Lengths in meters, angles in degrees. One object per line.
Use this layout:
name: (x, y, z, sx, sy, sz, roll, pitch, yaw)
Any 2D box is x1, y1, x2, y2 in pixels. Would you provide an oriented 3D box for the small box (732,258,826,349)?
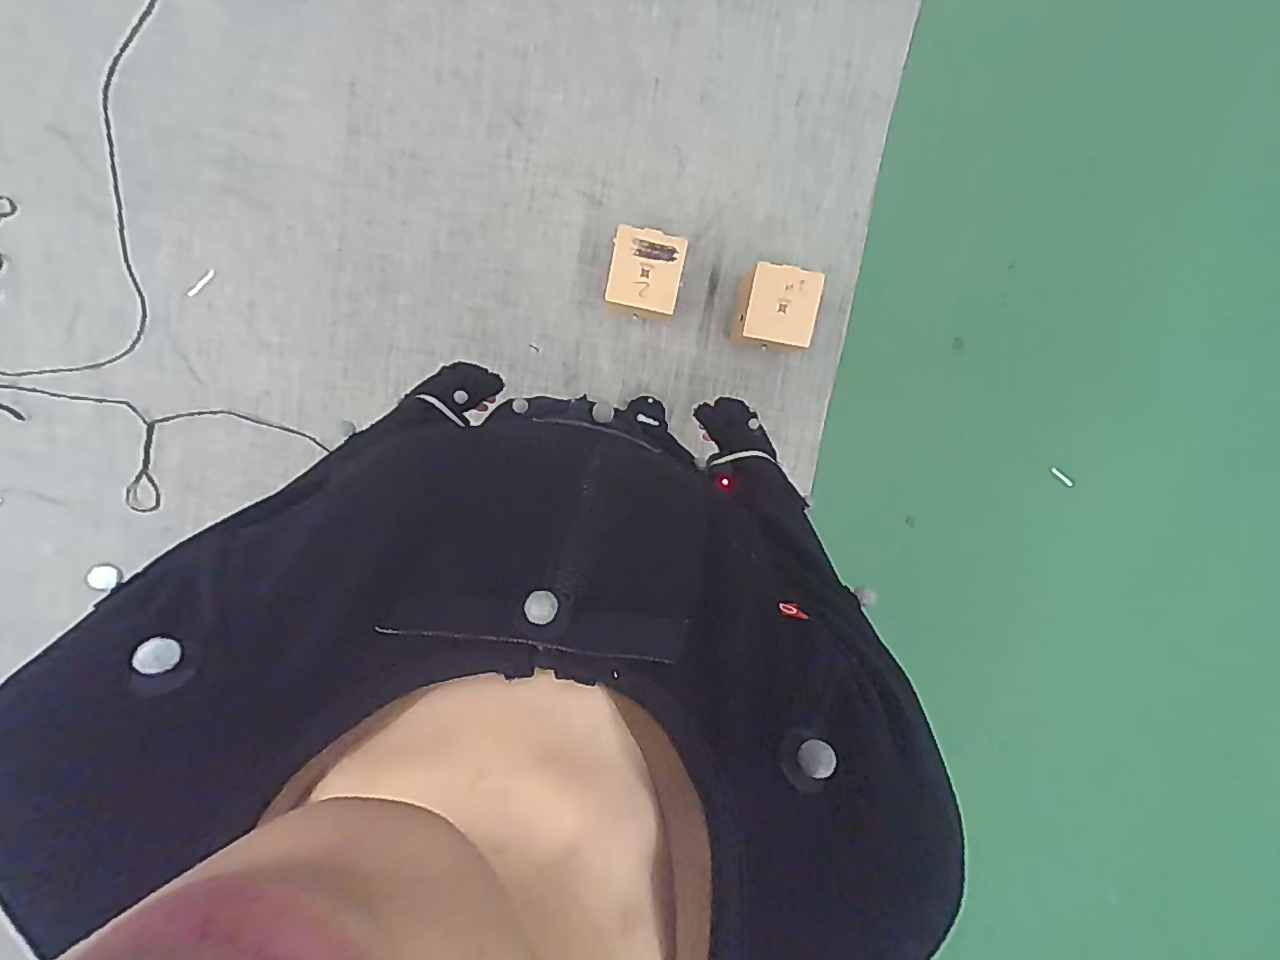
small box: (0.333, -0.427, 1.338, 0.168, 0.176, 0.179, 10, 99, -4)
